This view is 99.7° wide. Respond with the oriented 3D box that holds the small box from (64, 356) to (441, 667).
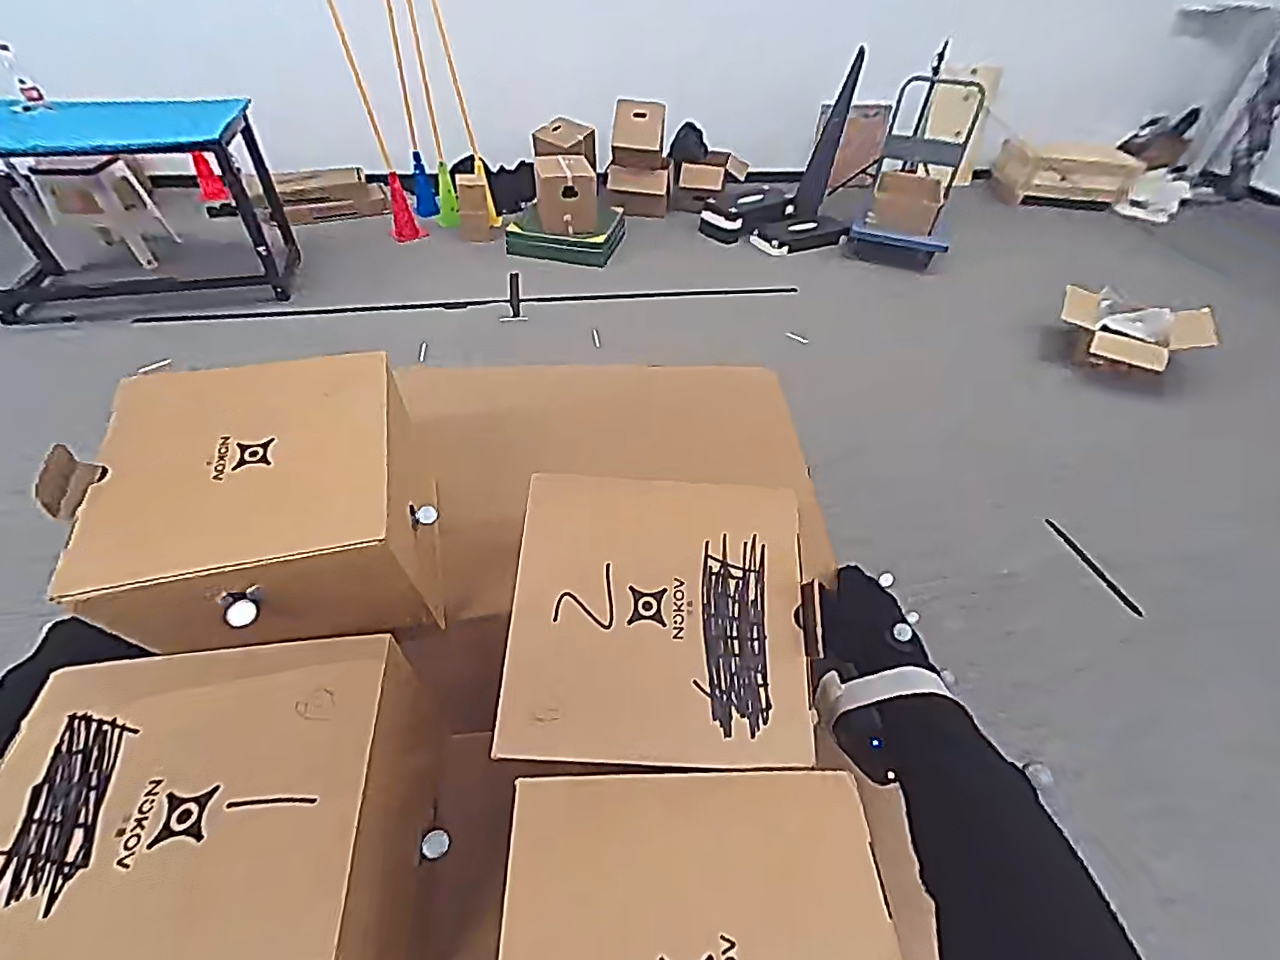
[{"bbox_3d":[-0.262,0.029,0.424,0.179,0.176,0.168,-10,57,-11],"label":"small box"}]
